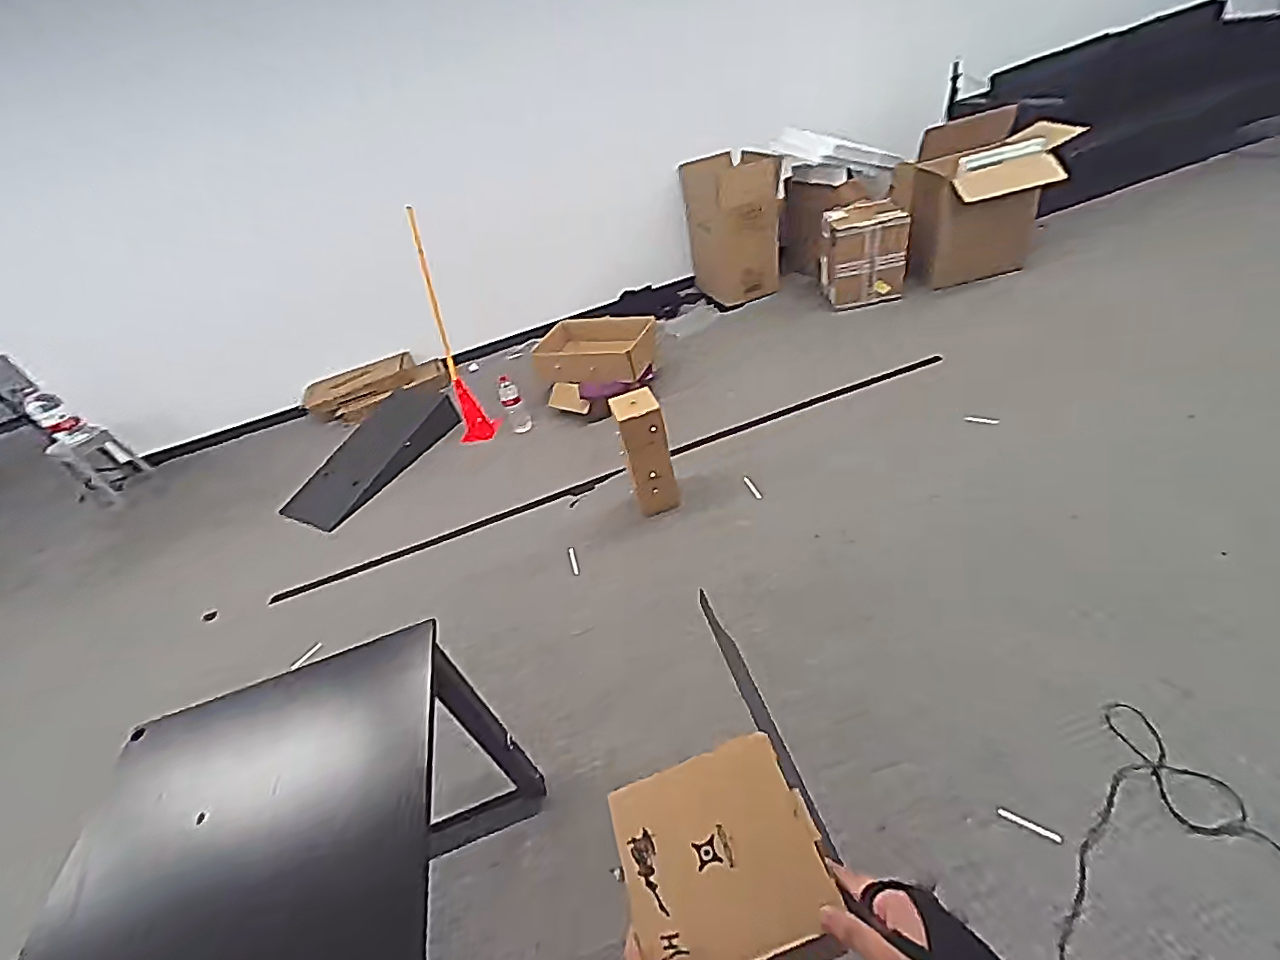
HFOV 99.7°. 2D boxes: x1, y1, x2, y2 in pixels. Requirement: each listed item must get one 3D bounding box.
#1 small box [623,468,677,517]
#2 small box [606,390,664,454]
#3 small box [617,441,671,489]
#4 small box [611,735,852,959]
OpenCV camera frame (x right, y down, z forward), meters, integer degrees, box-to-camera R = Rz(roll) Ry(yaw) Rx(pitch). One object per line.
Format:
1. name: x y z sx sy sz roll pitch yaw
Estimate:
1. small box: 0.044 0.030 2.298 0.179 0.176 0.168 -19 39 -5
2. small box: -0.017 -0.216 2.092 0.168 0.176 0.179 -19 38 -6
3. small box: 0.014 -0.092 2.192 0.168 0.176 0.179 -19 39 -5
4. small box: 0.087 0.396 0.545 0.179 0.176 0.168 -20 41 -3
